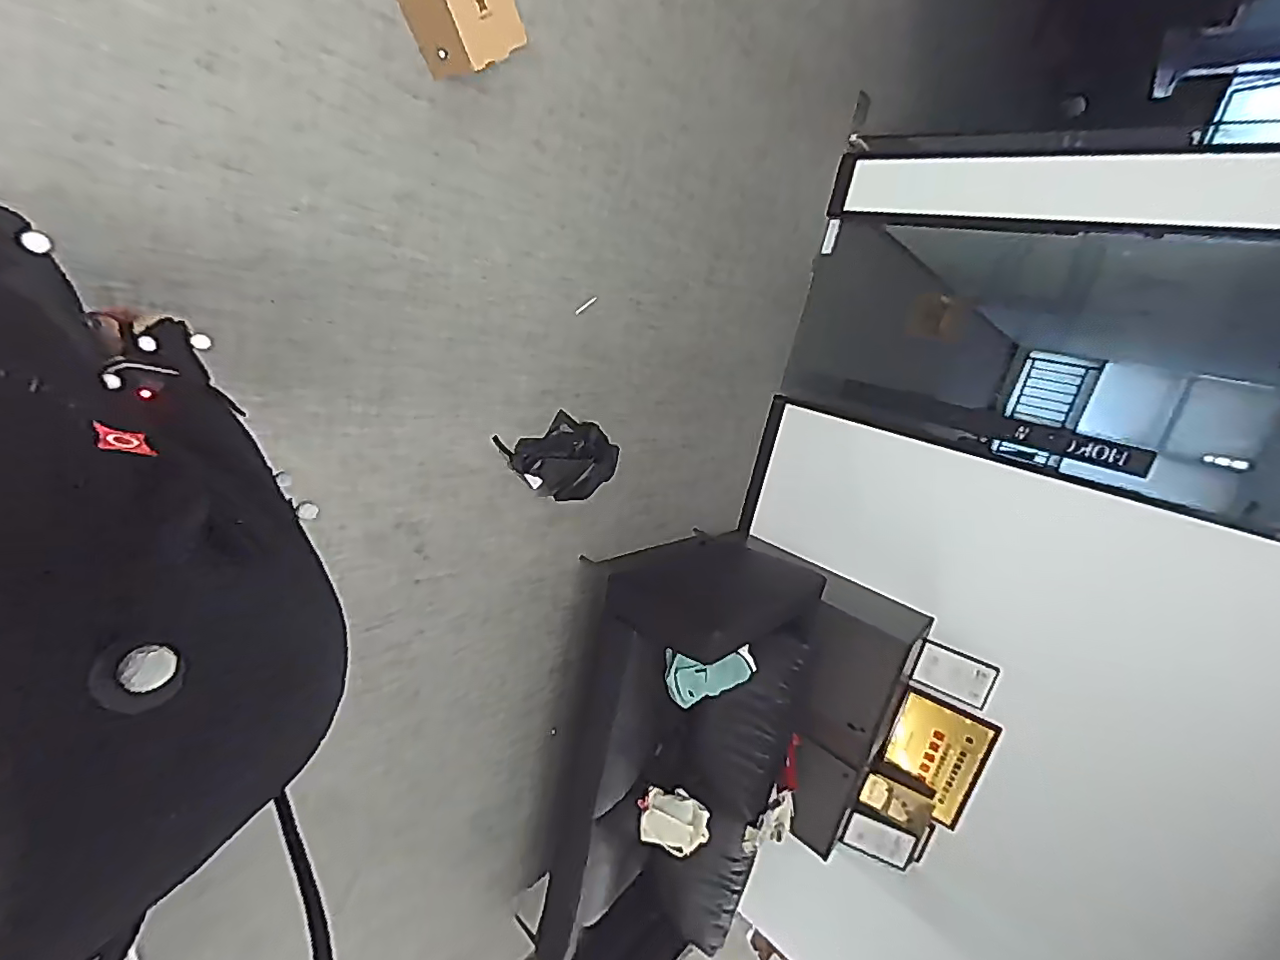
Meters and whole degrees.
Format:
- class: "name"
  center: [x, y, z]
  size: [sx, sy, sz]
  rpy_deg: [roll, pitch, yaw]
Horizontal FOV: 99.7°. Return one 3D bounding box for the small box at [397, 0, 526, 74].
- class: "small box"
  center: [-0.383, -0.993, 1.147]
  size: [0.168, 0.176, 0.179]
  rpy_deg: [-49, 141, -22]
